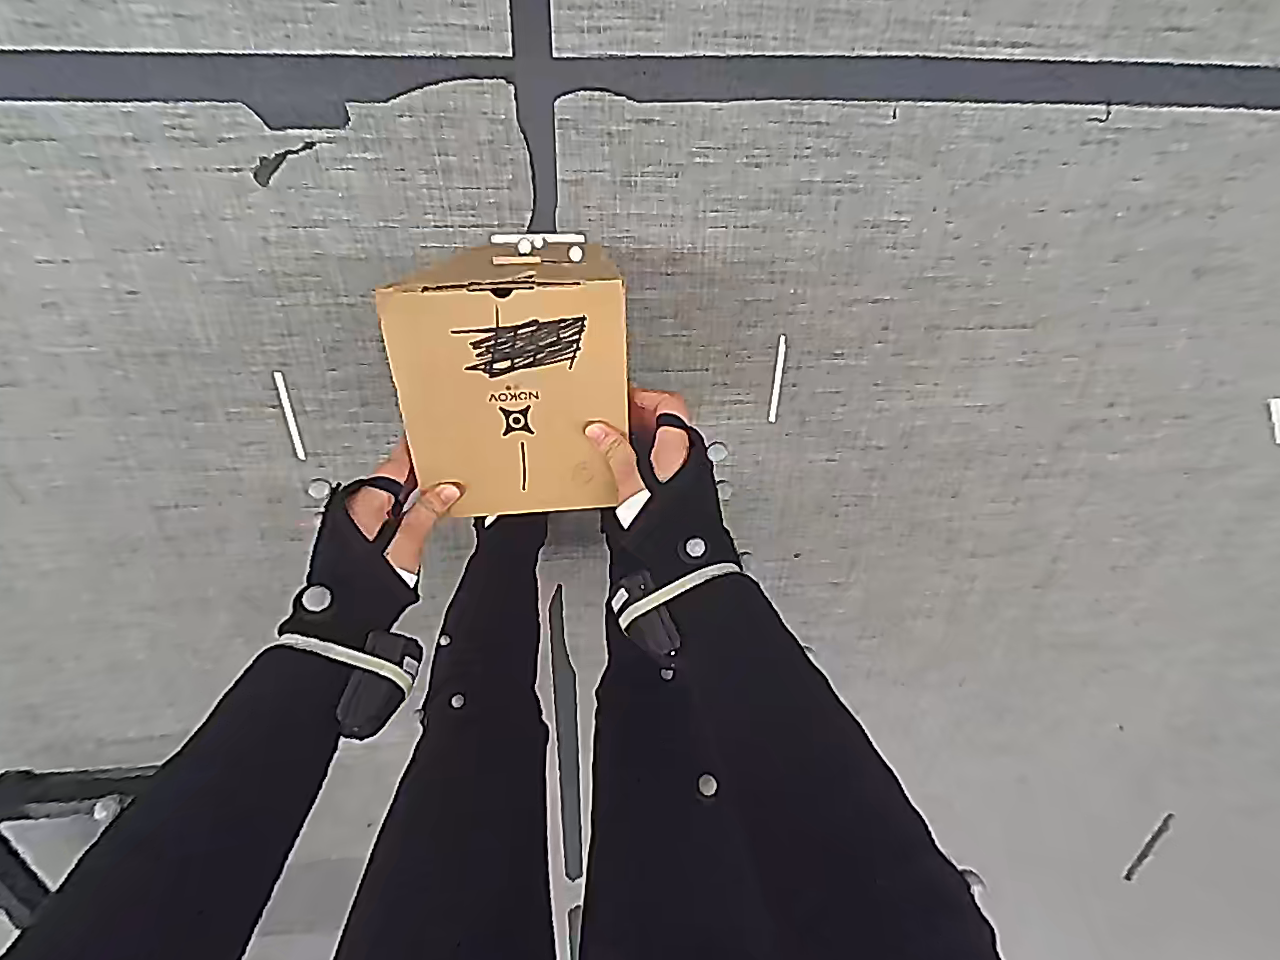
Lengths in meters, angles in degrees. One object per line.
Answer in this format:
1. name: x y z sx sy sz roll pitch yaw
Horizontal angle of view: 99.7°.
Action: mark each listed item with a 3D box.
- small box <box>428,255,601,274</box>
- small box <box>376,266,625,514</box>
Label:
1. small box: -0.126 -0.162 0.621 0.168 0.176 0.179 -4 116 -4
2. small box: -0.104 -0.090 0.475 0.168 0.176 0.179 -4 117 -5
